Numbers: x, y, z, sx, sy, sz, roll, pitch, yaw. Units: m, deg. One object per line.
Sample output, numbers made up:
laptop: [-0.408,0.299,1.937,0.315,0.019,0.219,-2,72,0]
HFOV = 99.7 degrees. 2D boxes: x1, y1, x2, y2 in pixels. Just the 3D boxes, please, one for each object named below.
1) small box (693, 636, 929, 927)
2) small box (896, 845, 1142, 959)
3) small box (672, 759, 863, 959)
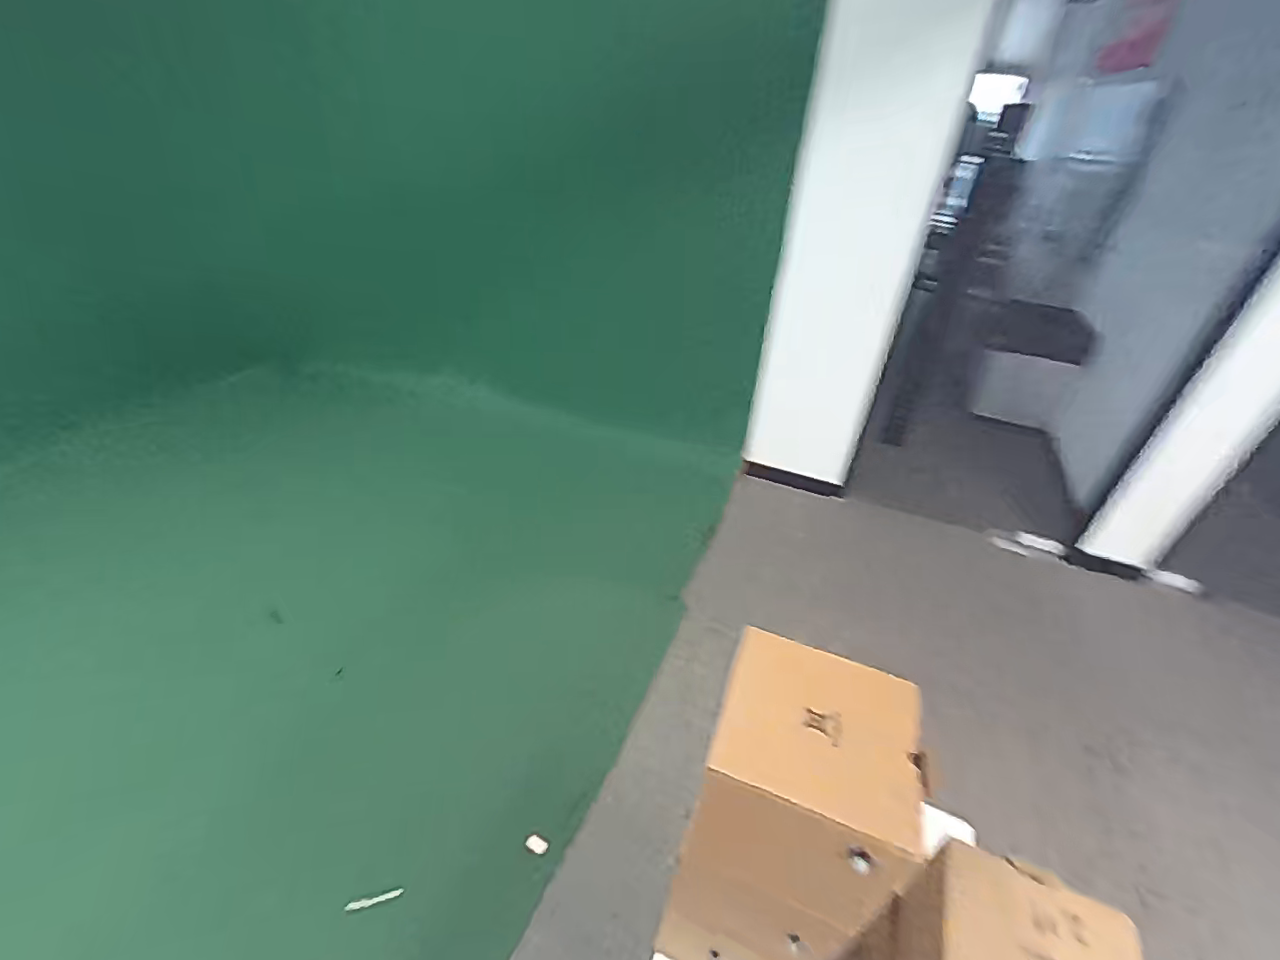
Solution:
small box: [0.162,0.296,0.539,0.179,0.176,0.168,17,37,14]
small box: [0.358,0.516,0.526,0.168,0.176,0.179,18,38,20]
small box: [0.149,0.430,0.631,0.179,0.176,0.168,16,36,15]
